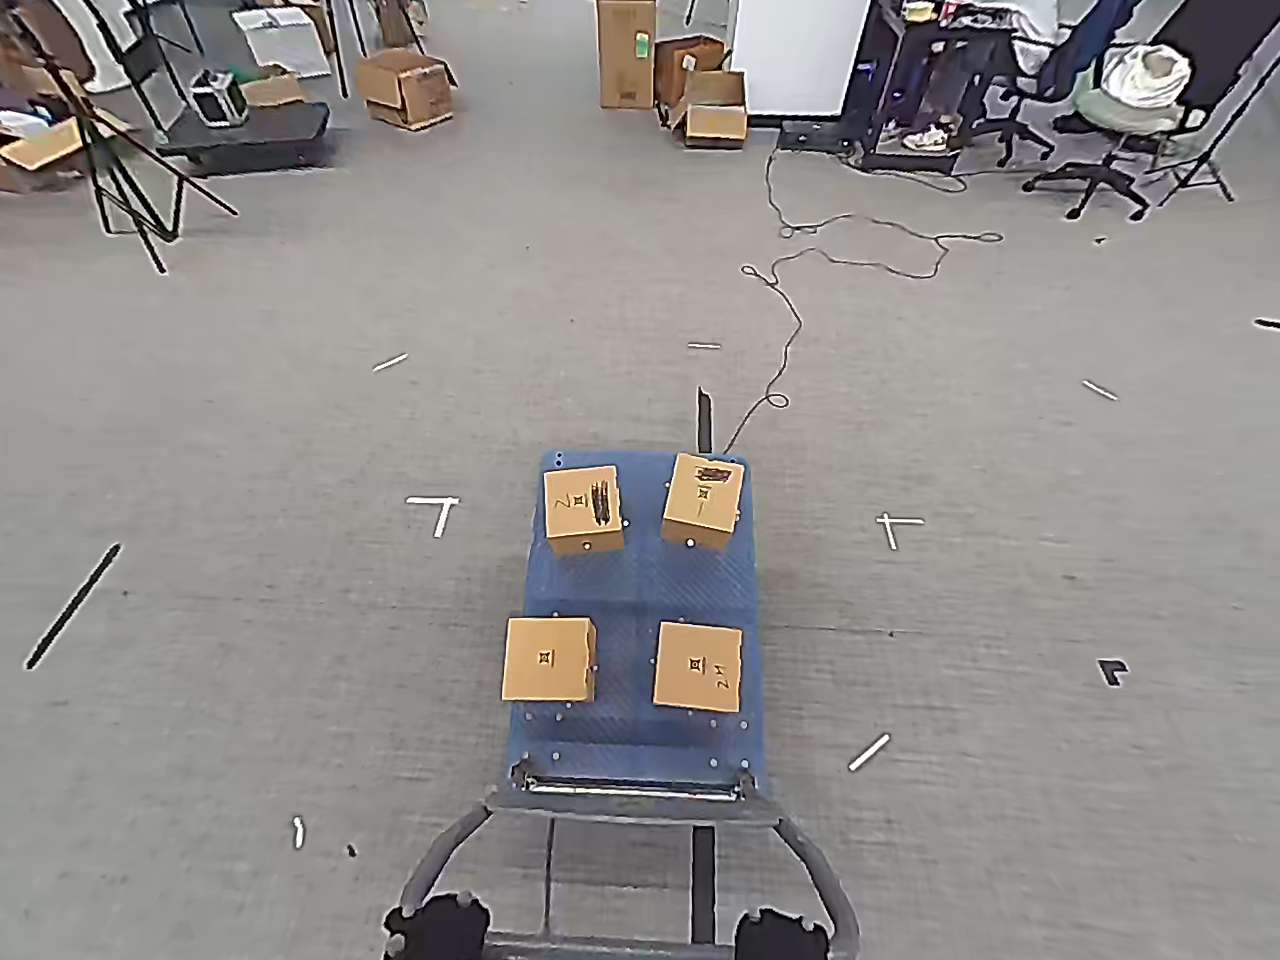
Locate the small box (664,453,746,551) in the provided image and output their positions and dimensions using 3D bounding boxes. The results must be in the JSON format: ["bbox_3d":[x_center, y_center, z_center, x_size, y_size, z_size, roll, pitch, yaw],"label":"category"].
[{"bbox_3d":[0.156,0.060,1.346,0.168,0.176,0.179,12,68,6],"label":"small box"}]

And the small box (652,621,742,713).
[{"bbox_3d":[0.122,0.417,1.192,0.179,0.176,0.168,6,67,3],"label":"small box"}]

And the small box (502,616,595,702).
[{"bbox_3d":[-0.195,0.401,1.200,0.179,0.176,0.168,1,66,-1],"label":"small box"}]
